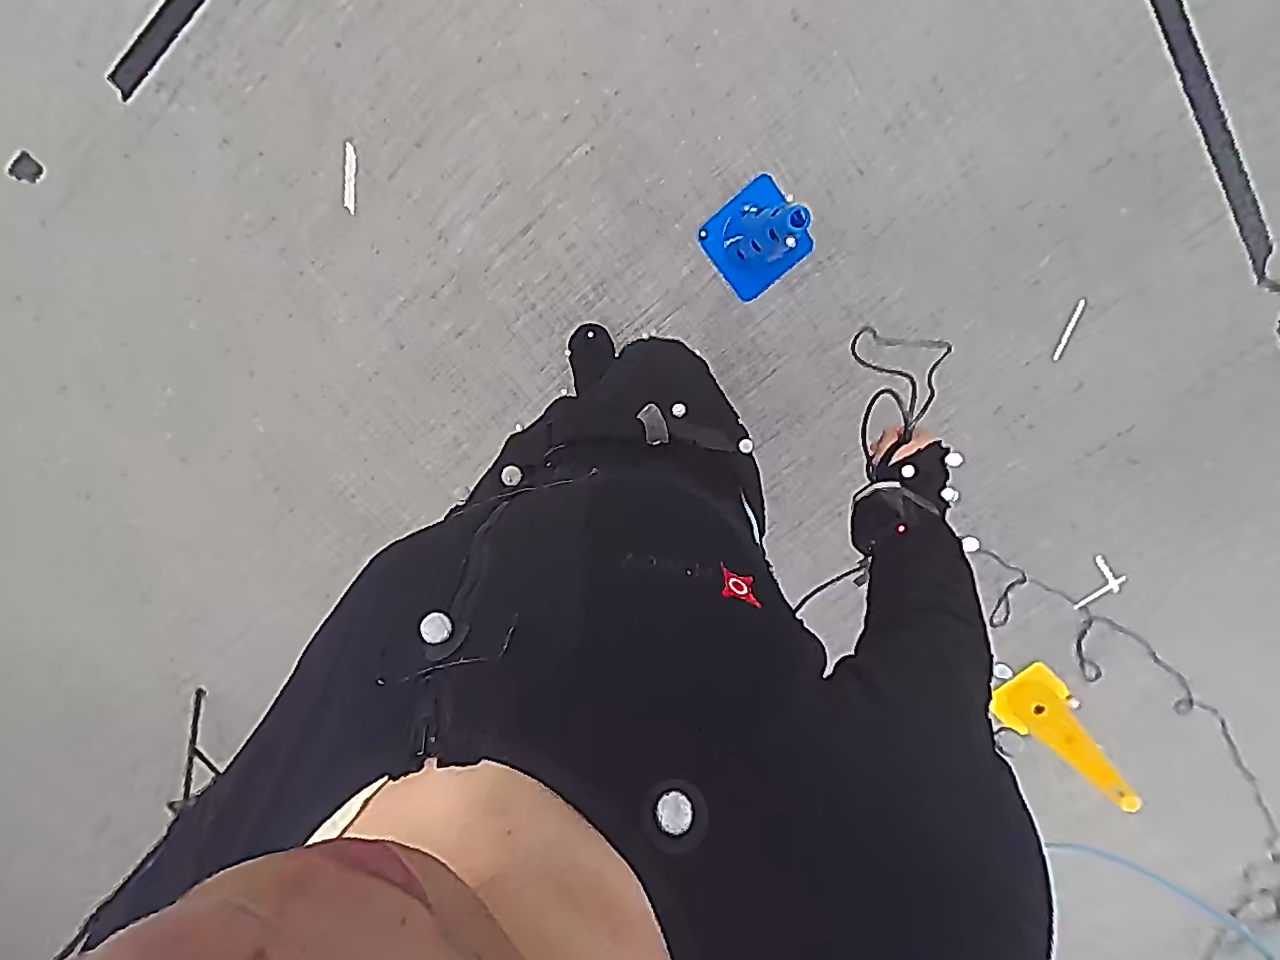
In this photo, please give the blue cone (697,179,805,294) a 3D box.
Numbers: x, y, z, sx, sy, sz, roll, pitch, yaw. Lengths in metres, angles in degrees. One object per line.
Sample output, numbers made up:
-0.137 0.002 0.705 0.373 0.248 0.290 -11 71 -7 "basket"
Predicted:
0.246 -0.480 1.039 0.192 0.380 0.193 -37 105 13 "blue cone"
